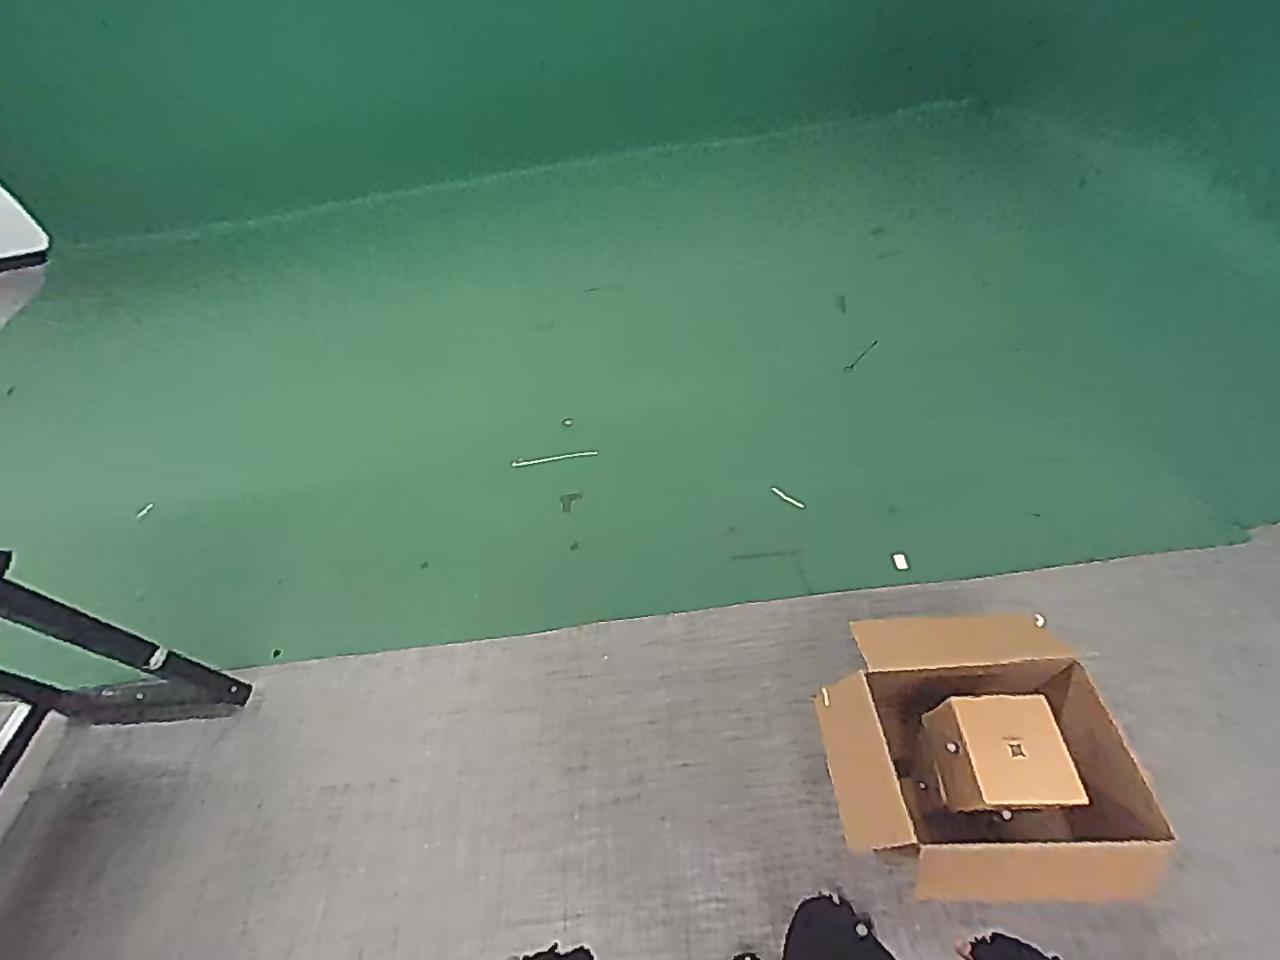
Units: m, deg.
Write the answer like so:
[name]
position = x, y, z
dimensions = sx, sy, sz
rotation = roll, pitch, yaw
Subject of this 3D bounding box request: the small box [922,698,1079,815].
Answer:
[small box]
position = 0.660, 0.524, 1.018
dimensions = 0.168, 0.176, 0.179
rotation = -4, 52, 5
